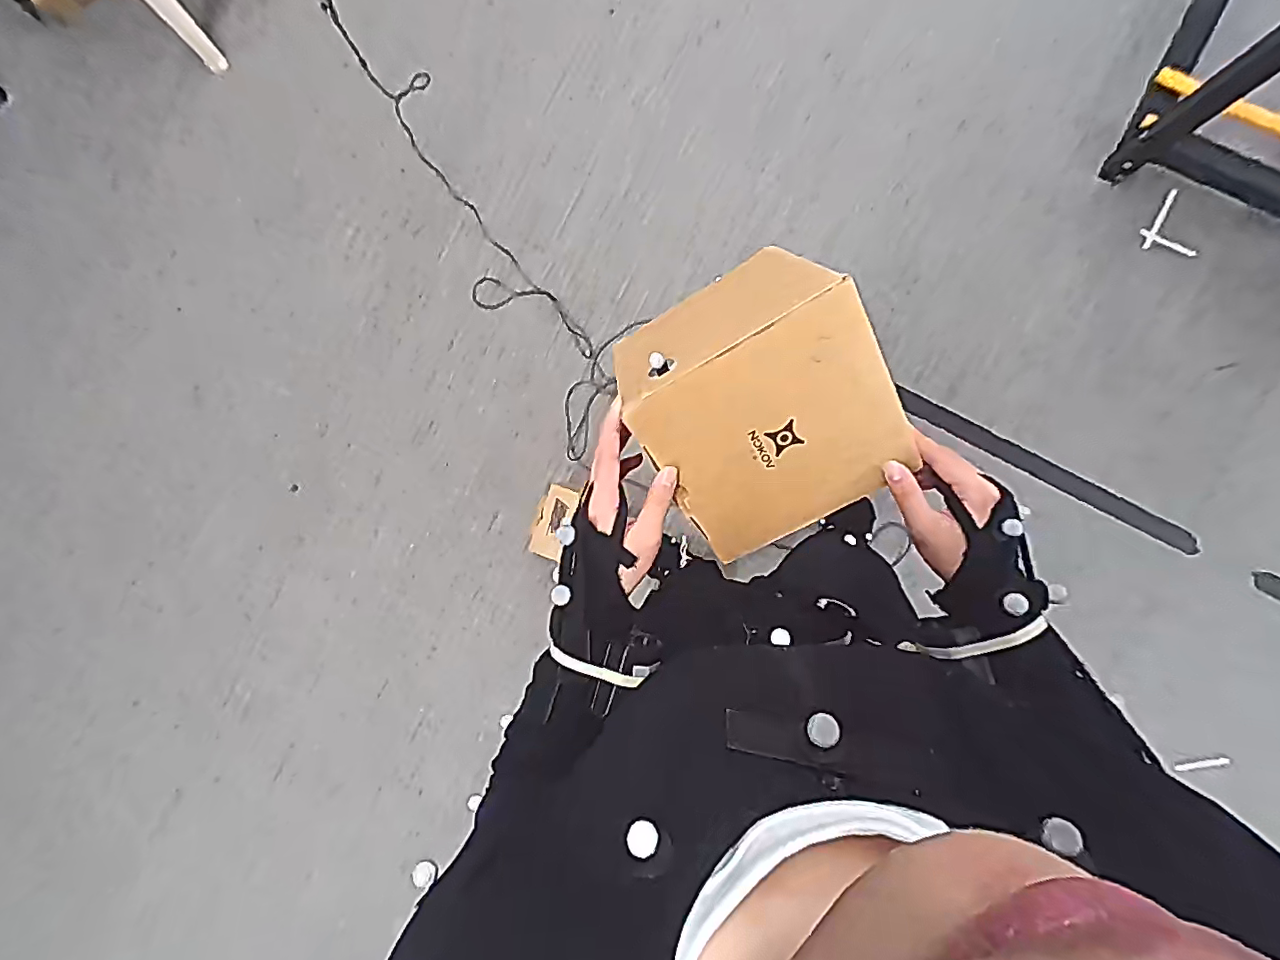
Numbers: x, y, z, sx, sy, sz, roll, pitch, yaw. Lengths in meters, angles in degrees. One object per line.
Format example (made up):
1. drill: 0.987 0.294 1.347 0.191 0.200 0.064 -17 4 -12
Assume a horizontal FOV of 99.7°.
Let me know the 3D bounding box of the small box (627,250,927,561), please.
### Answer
1. small box: 0.101 -0.071 0.462 0.179 0.176 0.168 -29 118 13

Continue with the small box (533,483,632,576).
1. small box: -0.132 0.113 1.307 0.179 0.176 0.168 20 93 4
